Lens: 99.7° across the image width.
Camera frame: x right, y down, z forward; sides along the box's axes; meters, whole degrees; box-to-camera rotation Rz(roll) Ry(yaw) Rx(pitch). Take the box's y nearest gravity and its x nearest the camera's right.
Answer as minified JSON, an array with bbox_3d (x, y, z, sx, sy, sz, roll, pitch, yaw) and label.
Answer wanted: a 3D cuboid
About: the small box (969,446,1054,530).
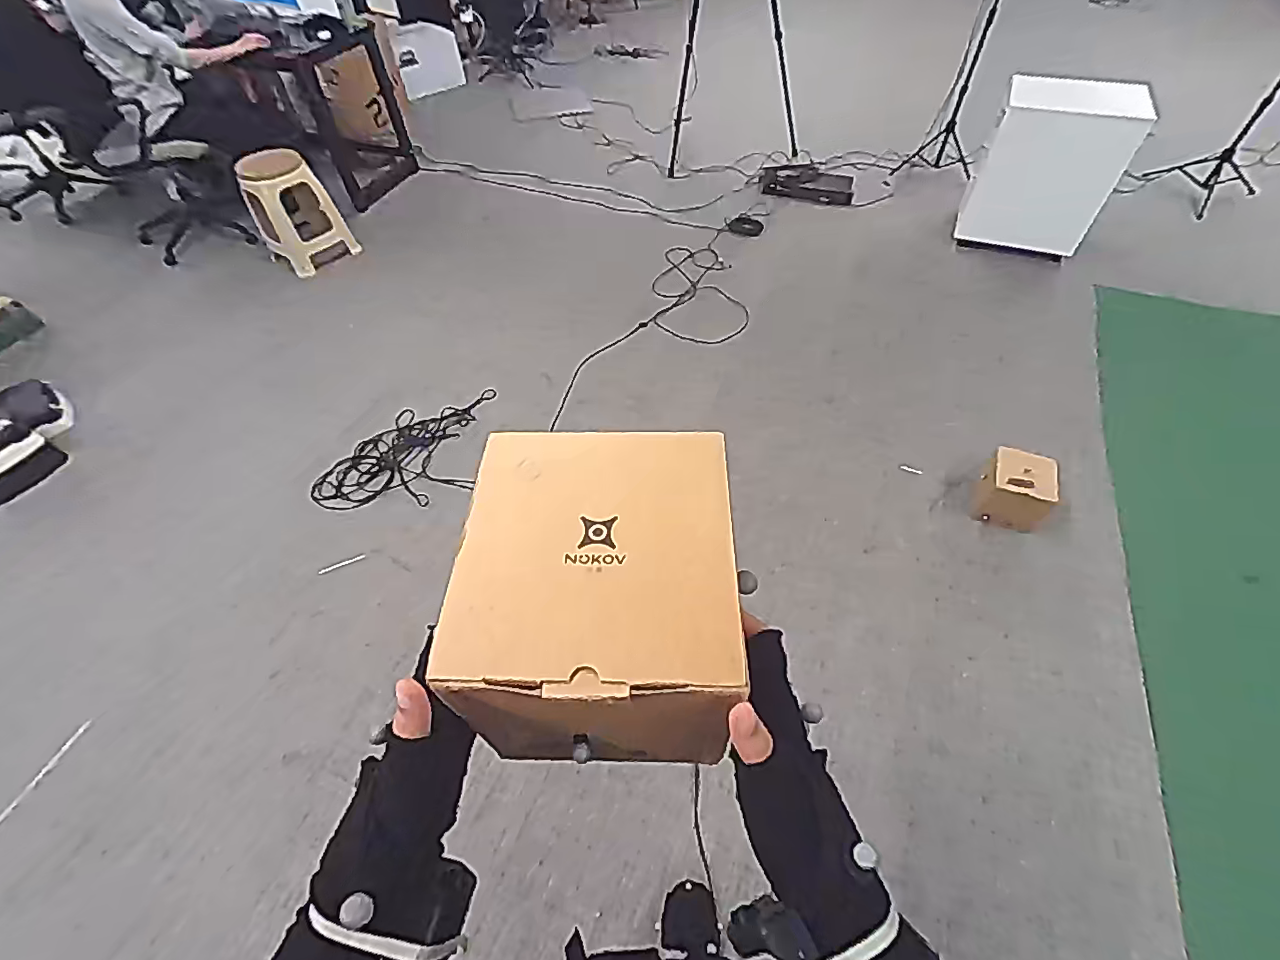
[{"bbox_3d":[1.142,0.029,1.671,0.168,0.176,0.179,18,55,16],"label":"small box"}]

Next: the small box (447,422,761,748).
[{"bbox_3d":[-0.017,0.078,0.389,0.168,0.176,0.179,0,53,2],"label":"small box"}]
